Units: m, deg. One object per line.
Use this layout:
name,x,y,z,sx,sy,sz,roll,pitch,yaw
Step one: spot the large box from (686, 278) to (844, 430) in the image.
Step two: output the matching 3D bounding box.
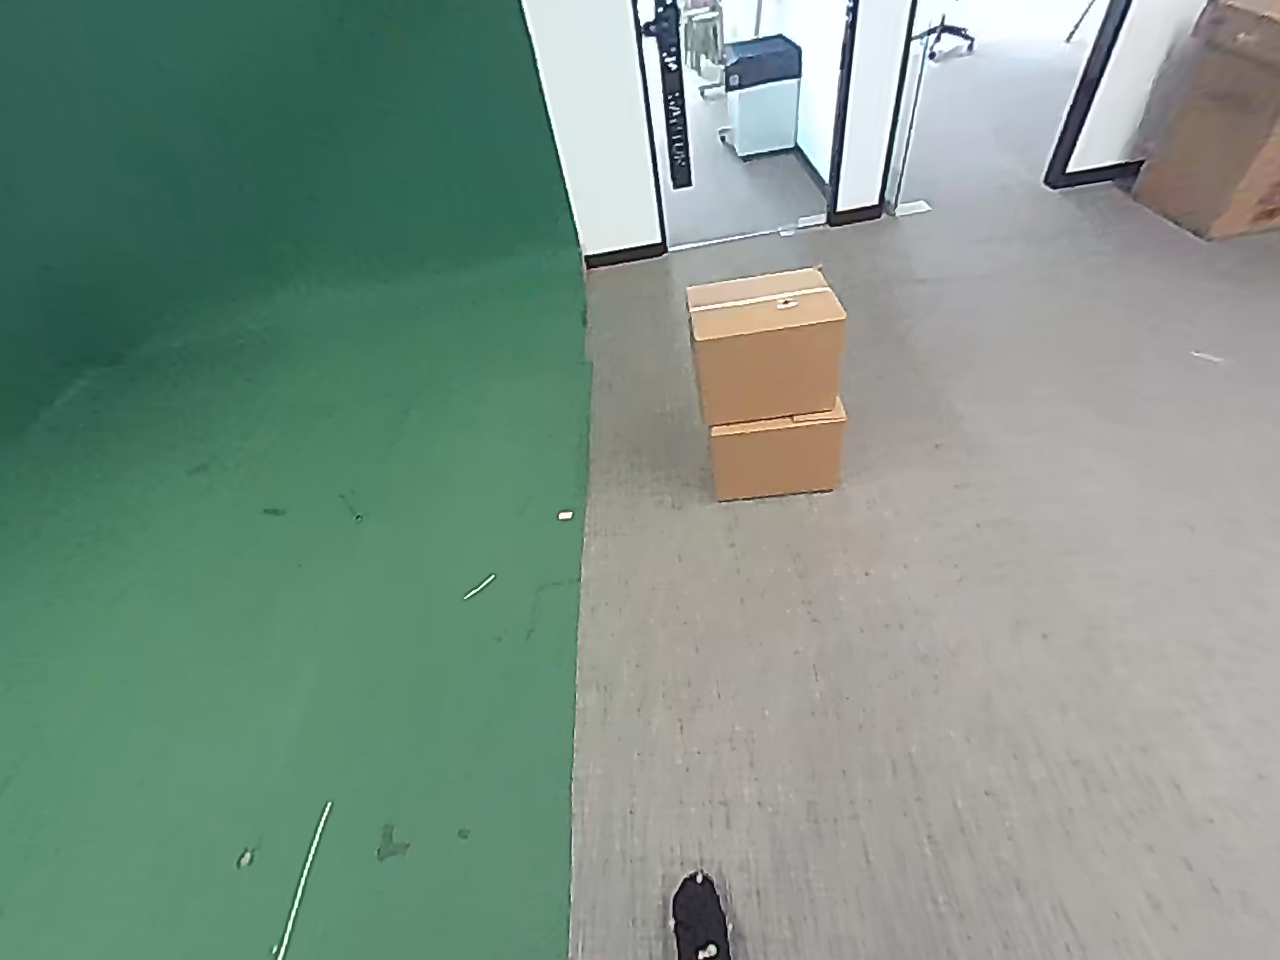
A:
large box,0.361,-0.381,1.649,0.408,0.320,0.320,-6,44,5
